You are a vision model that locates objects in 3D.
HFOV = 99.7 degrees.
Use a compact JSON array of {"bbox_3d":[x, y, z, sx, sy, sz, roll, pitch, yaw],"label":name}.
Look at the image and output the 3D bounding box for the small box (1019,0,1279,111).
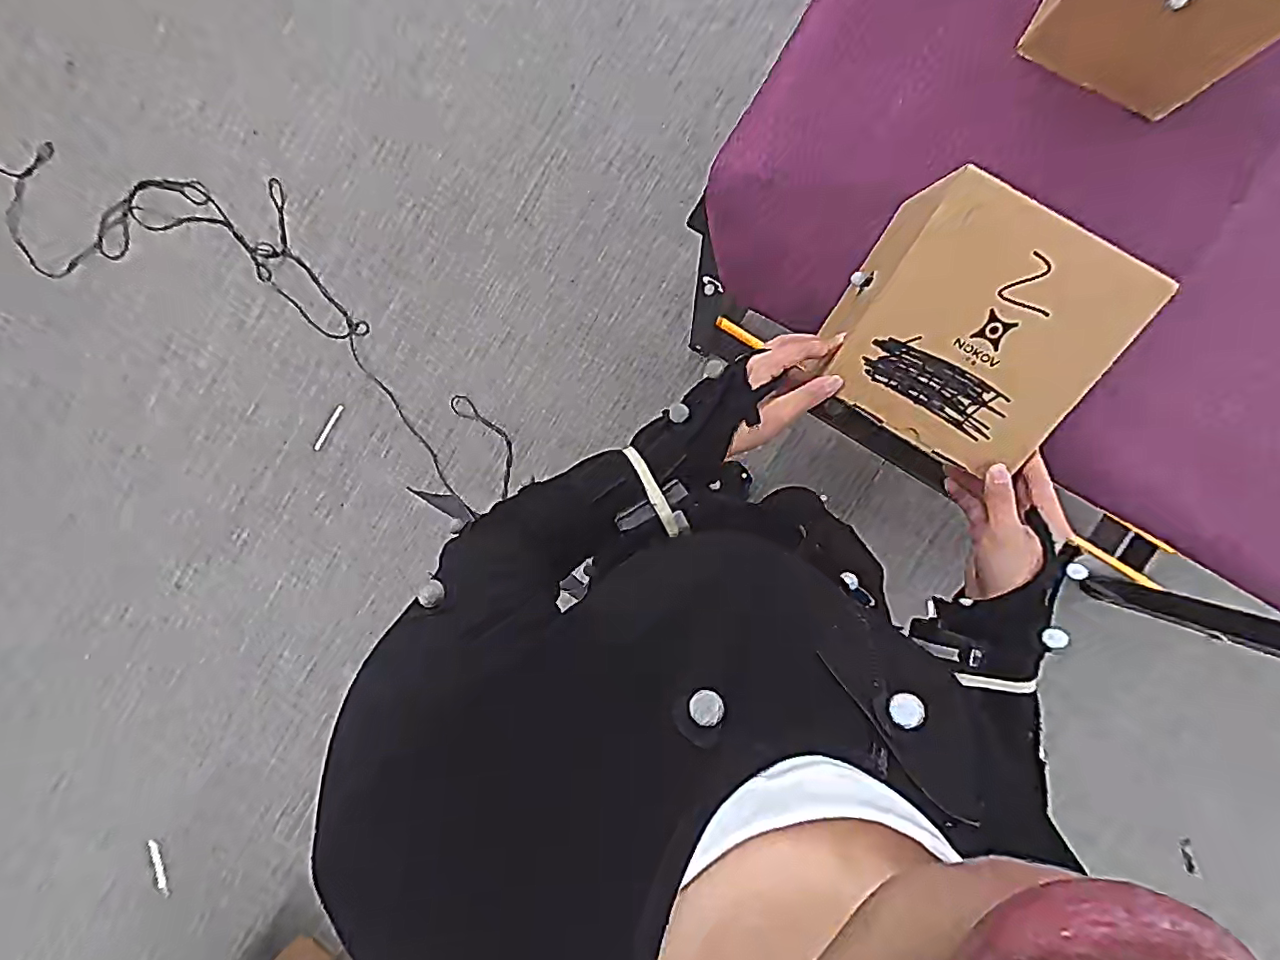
[{"bbox_3d":[0.528,-0.504,0.520,0.179,0.176,0.168,28,94,1],"label":"small box"}]
